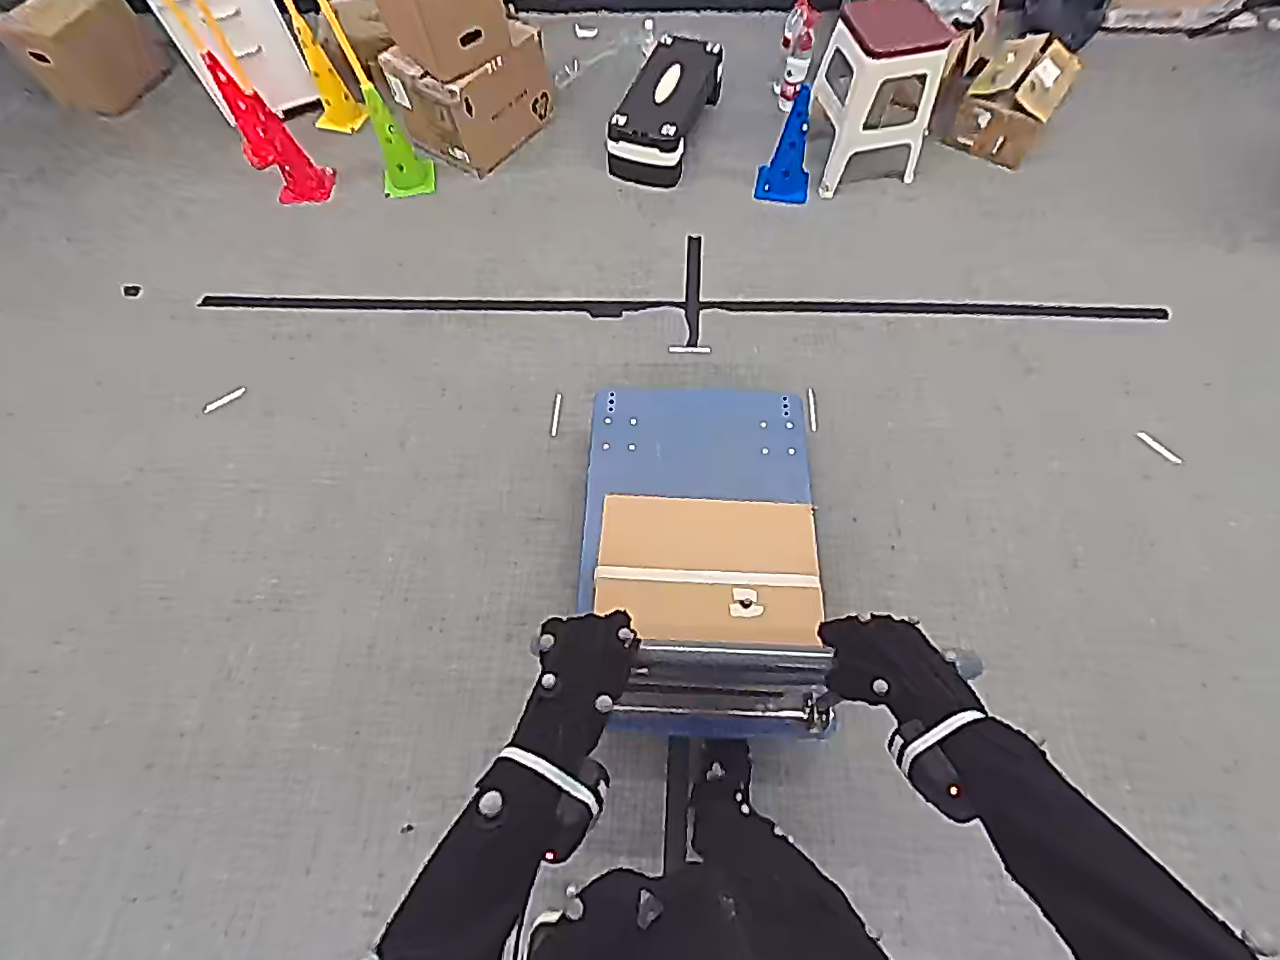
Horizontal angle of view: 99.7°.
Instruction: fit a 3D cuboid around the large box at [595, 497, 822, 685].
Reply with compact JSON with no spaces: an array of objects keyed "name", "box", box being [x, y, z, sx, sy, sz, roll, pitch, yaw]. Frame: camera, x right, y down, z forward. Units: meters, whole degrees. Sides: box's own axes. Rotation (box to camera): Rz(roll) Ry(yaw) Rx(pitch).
[{"name":"large box","box":[0.121,0.244,1.135,0.408,0.320,0.320,3,64,1]}]
